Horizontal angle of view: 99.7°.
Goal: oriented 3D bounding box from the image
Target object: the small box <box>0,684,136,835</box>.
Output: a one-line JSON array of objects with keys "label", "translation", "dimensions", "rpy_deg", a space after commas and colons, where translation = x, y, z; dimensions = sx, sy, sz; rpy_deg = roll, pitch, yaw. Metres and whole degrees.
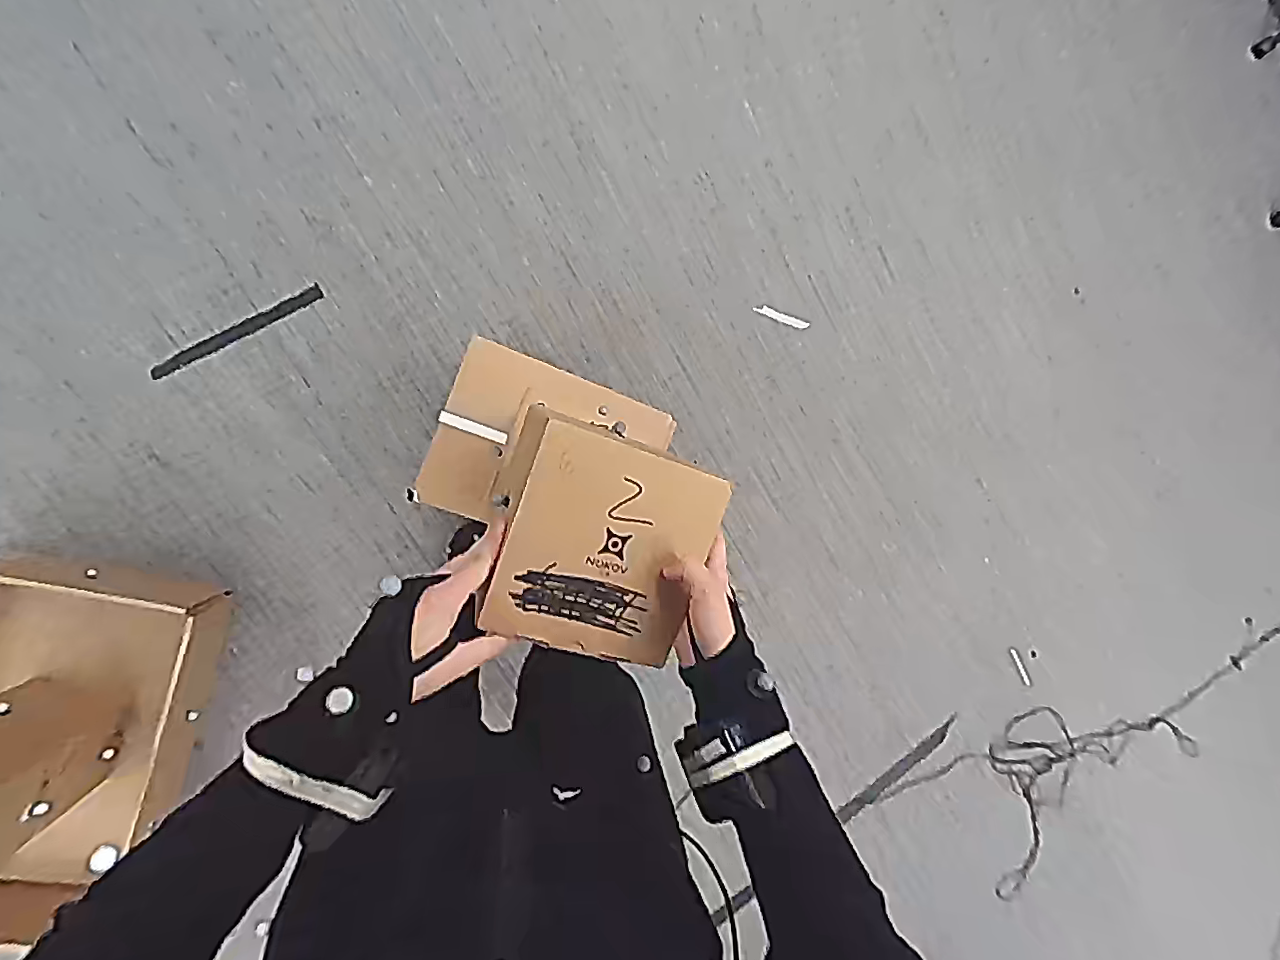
[{"label": "small box", "translation": [-1.062, 0.480, 0.951], "dimensions": [0.179, 0.176, 0.168], "rpy_deg": [19, 88, -15]}]

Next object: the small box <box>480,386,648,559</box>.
[{"label": "small box", "translation": [-0.110, -0.011, 0.750], "dimensions": [0.168, 0.176, 0.179], "rpy_deg": [20, 87, -15]}]
